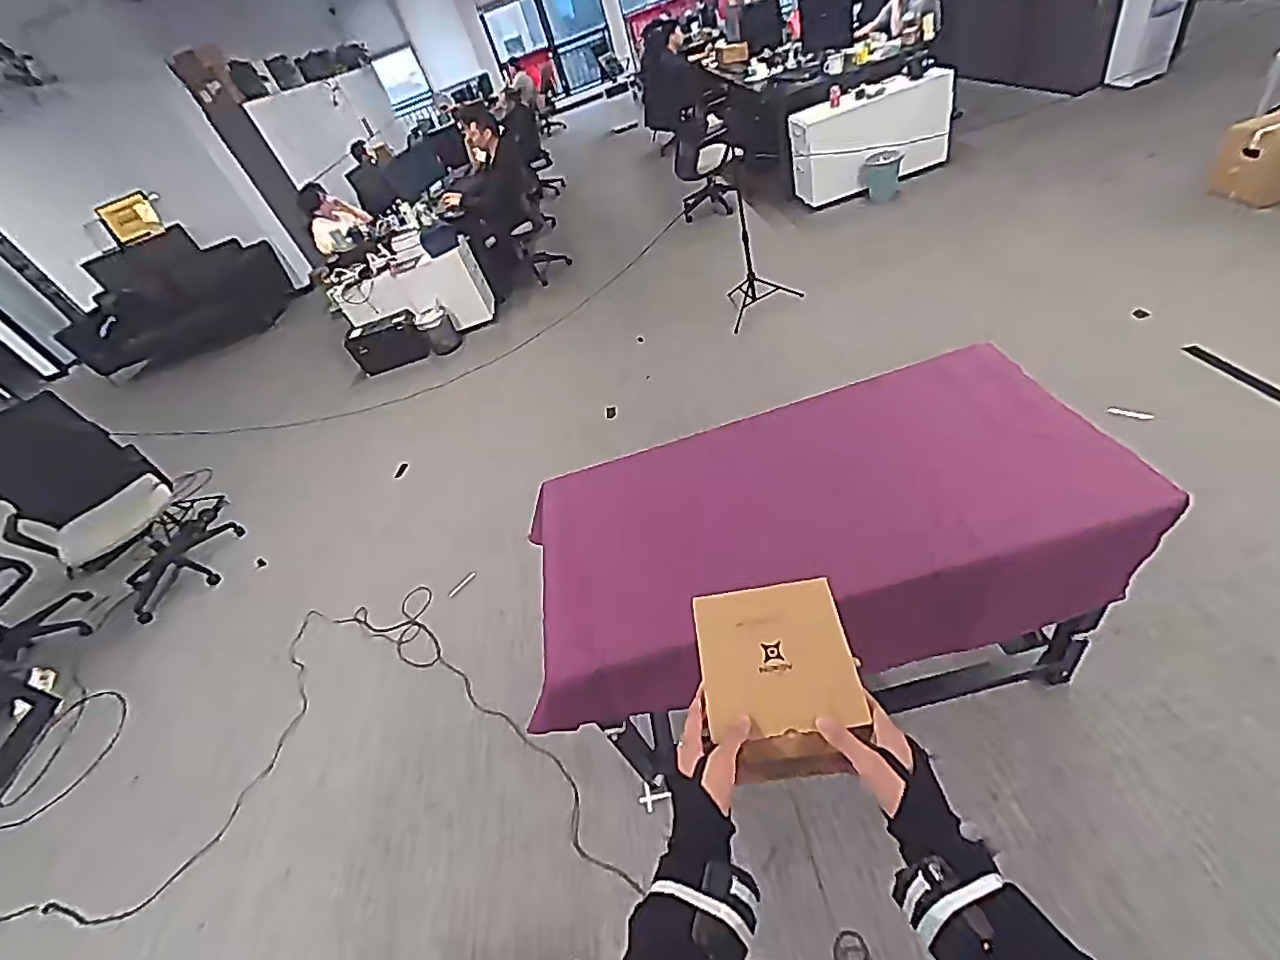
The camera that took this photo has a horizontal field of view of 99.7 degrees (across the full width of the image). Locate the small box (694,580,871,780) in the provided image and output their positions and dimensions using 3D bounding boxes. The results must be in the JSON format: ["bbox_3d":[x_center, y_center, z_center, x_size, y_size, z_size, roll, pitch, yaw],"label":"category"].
[{"bbox_3d":[0.167,0.250,0.658,0.168,0.176,0.179,-10,47,7],"label":"small box"}]
